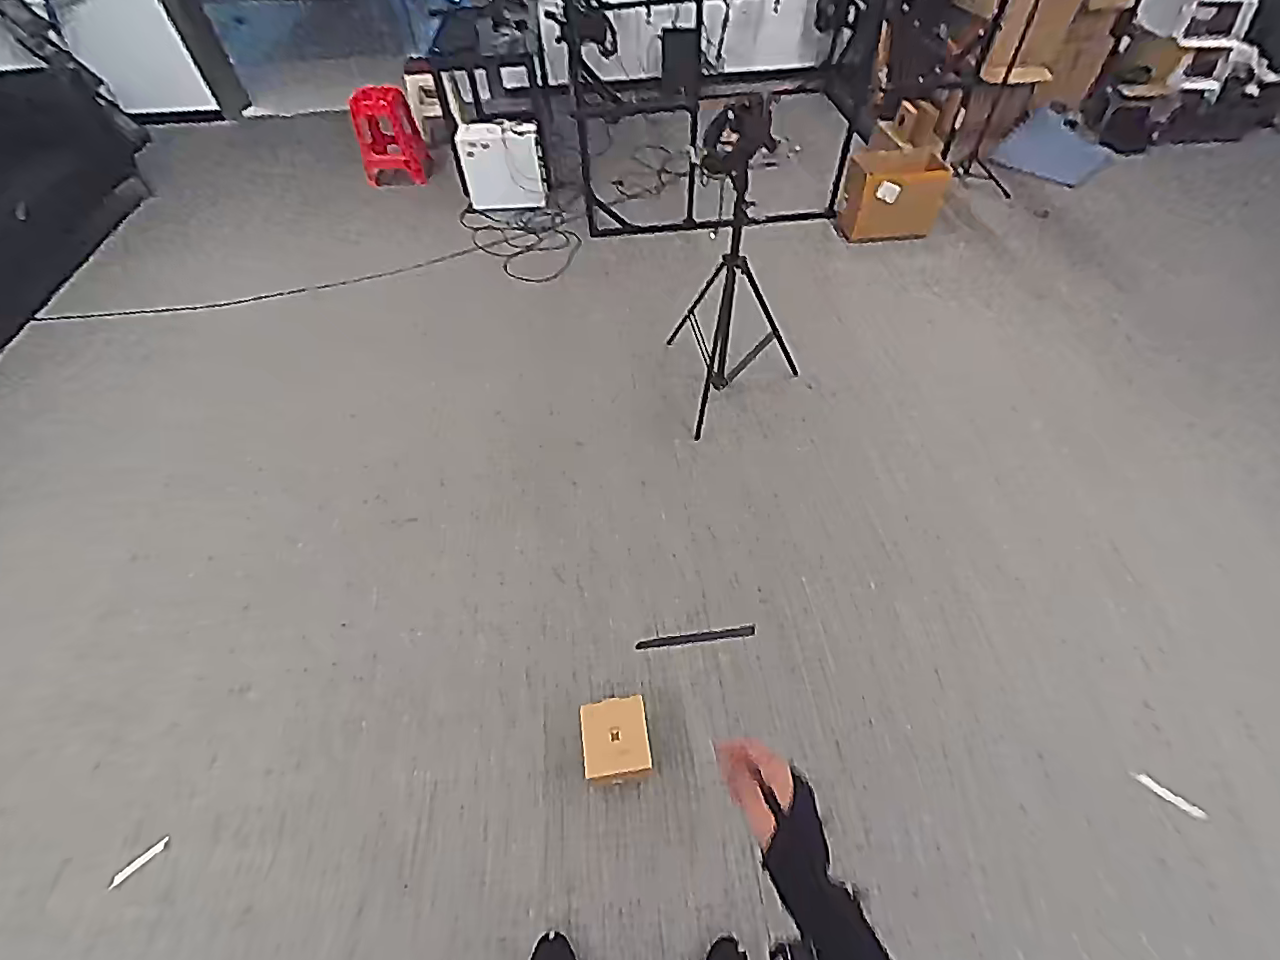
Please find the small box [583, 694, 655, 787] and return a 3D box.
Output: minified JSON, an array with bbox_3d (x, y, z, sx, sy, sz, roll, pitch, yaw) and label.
[{"bbox_3d":[-0.055,0.685,1.416,0.168,0.176,0.179,-8,53,-3],"label":"small box"}]
